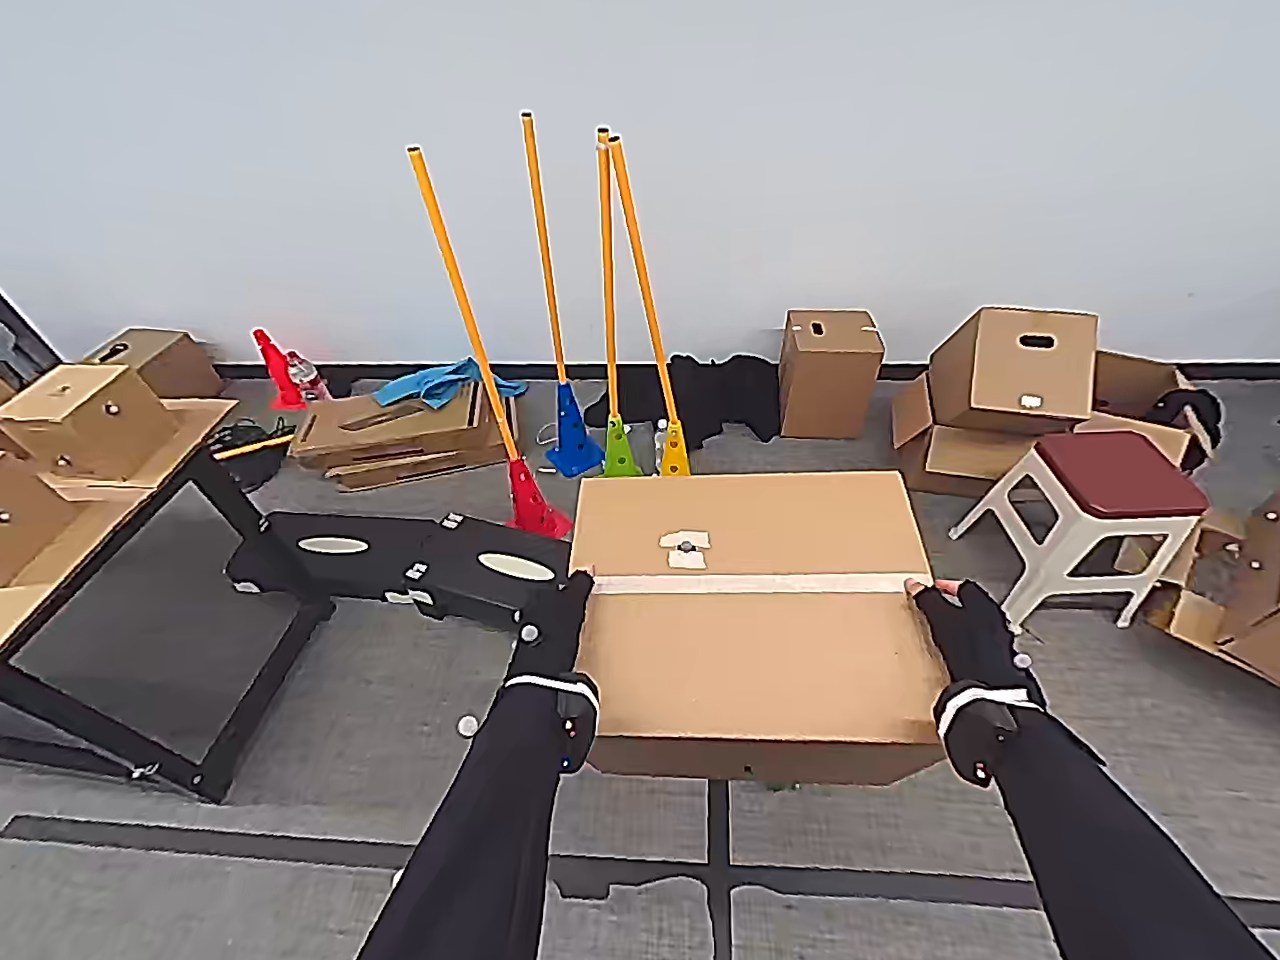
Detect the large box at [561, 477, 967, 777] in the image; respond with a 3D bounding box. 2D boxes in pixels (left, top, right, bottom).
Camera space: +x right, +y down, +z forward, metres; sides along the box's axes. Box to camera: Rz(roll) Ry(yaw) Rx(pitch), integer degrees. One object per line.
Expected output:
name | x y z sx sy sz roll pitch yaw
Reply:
large box | 0.137 0.215 0.737 0.408 0.320 0.320 -2 54 6
